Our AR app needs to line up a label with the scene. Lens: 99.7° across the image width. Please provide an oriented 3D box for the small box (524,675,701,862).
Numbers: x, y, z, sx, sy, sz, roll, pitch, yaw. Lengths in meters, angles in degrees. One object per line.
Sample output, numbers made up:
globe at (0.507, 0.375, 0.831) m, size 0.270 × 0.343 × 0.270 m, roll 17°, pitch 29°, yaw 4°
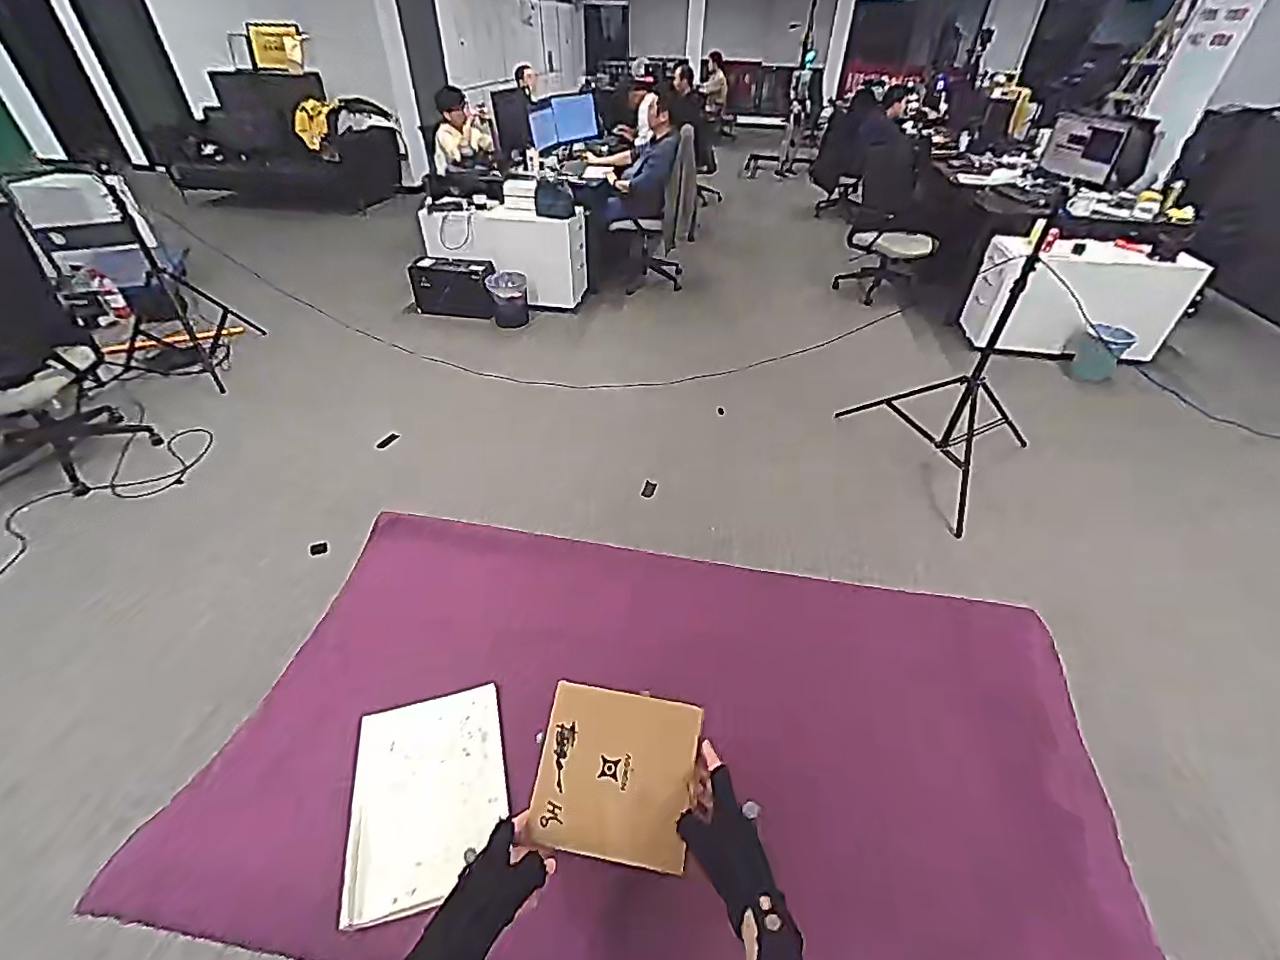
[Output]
small box at (-0.025, 0.353, 0.671) m, size 0.179 × 0.176 × 0.168 m, roll 7°, pitch 60°, yaw 4°
